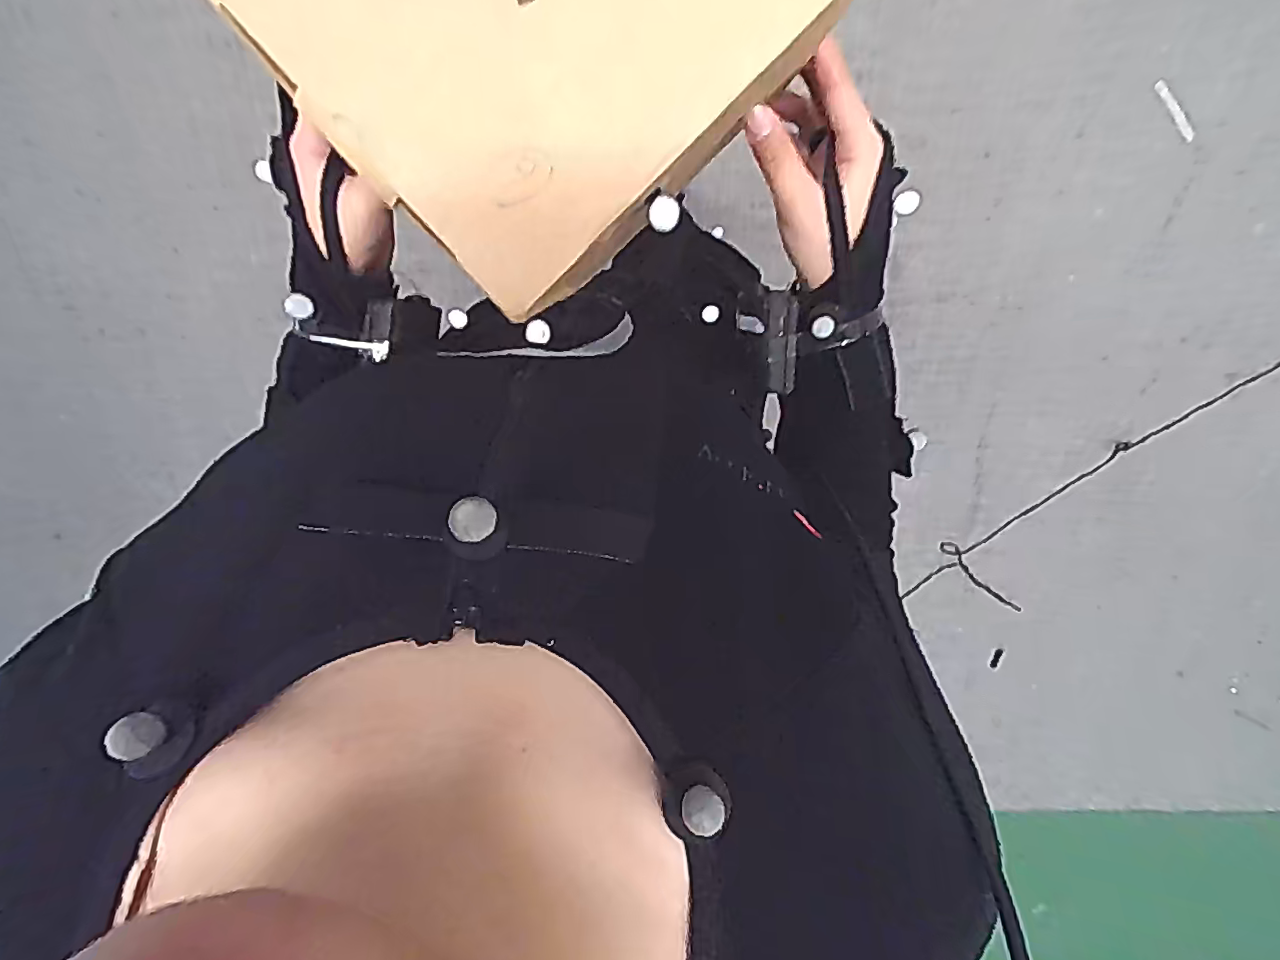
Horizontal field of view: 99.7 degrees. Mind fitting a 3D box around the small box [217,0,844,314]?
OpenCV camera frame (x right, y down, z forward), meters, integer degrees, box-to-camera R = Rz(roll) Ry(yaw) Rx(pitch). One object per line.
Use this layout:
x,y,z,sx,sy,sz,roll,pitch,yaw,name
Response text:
-0.033,-0.202,0.240,0.179,0.176,0.168,-38,106,18,small box
